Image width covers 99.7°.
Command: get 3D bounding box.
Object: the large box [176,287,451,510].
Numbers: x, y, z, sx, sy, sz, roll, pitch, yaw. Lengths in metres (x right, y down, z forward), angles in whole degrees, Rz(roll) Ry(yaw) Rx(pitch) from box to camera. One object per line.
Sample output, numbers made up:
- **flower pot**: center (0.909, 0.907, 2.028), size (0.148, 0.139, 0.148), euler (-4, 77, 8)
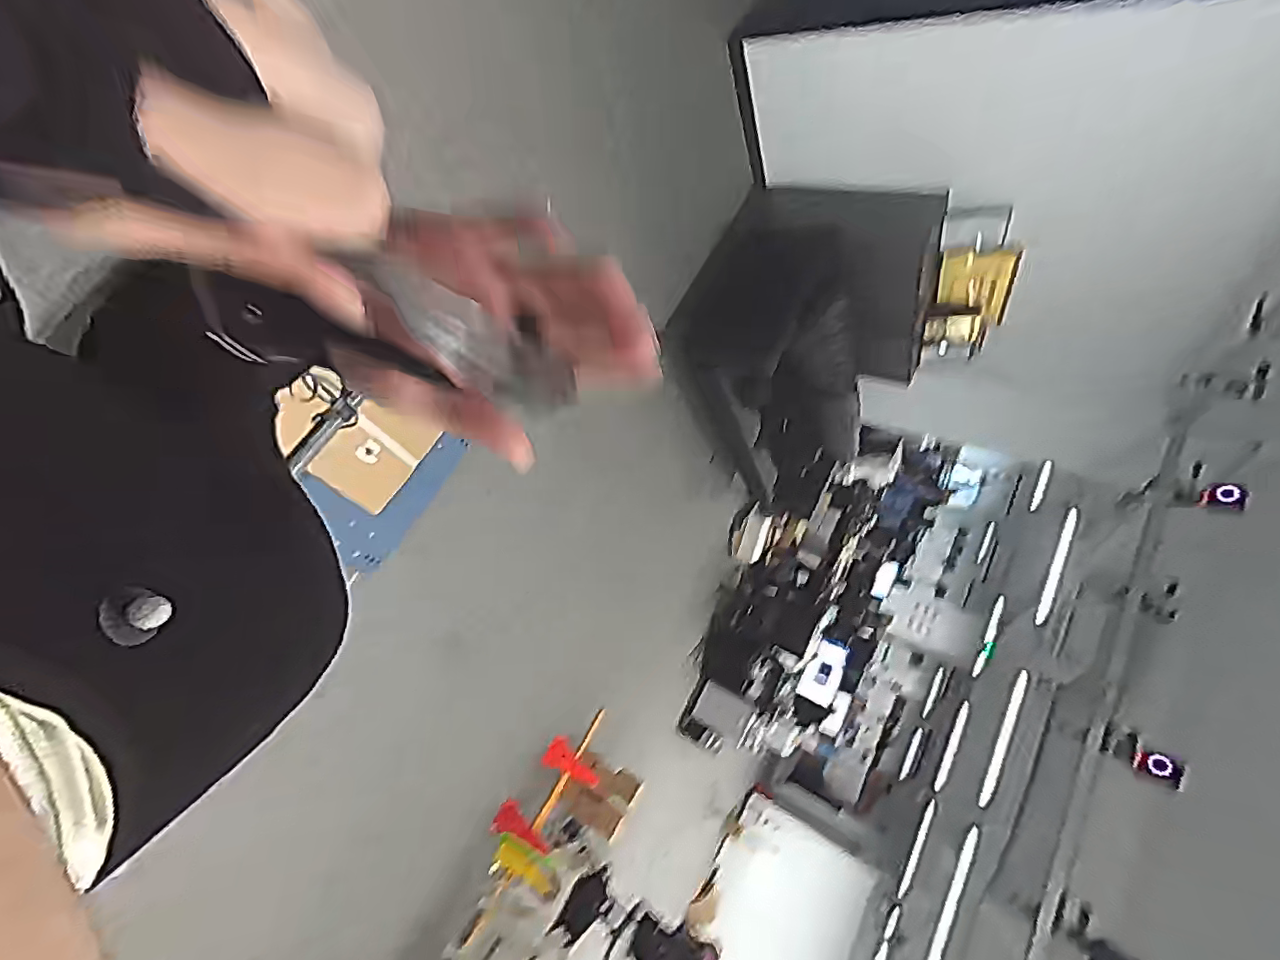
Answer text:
- **large box**: center (-0.755, -0.190, 1.299), size (0.320, 0.320, 0.408), euler (-57, 149, -19)
